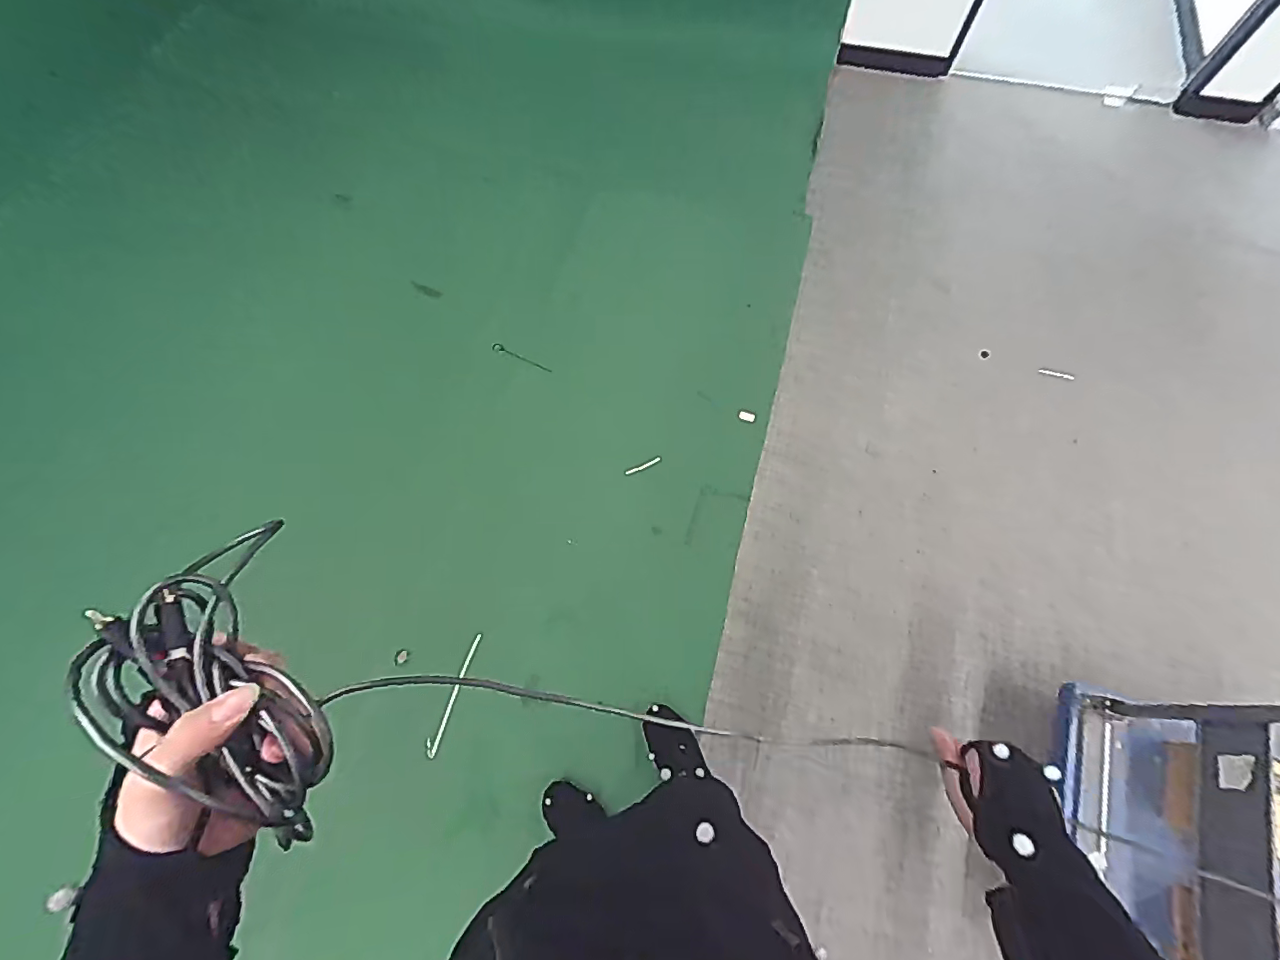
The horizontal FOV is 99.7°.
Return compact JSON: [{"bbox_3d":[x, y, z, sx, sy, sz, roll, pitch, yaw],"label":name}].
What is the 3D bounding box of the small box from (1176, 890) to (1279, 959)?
[{"bbox_3d":[1.153,0.897,0.992,0.179,0.176,0.168,19,70,9],"label":"small box"}]
